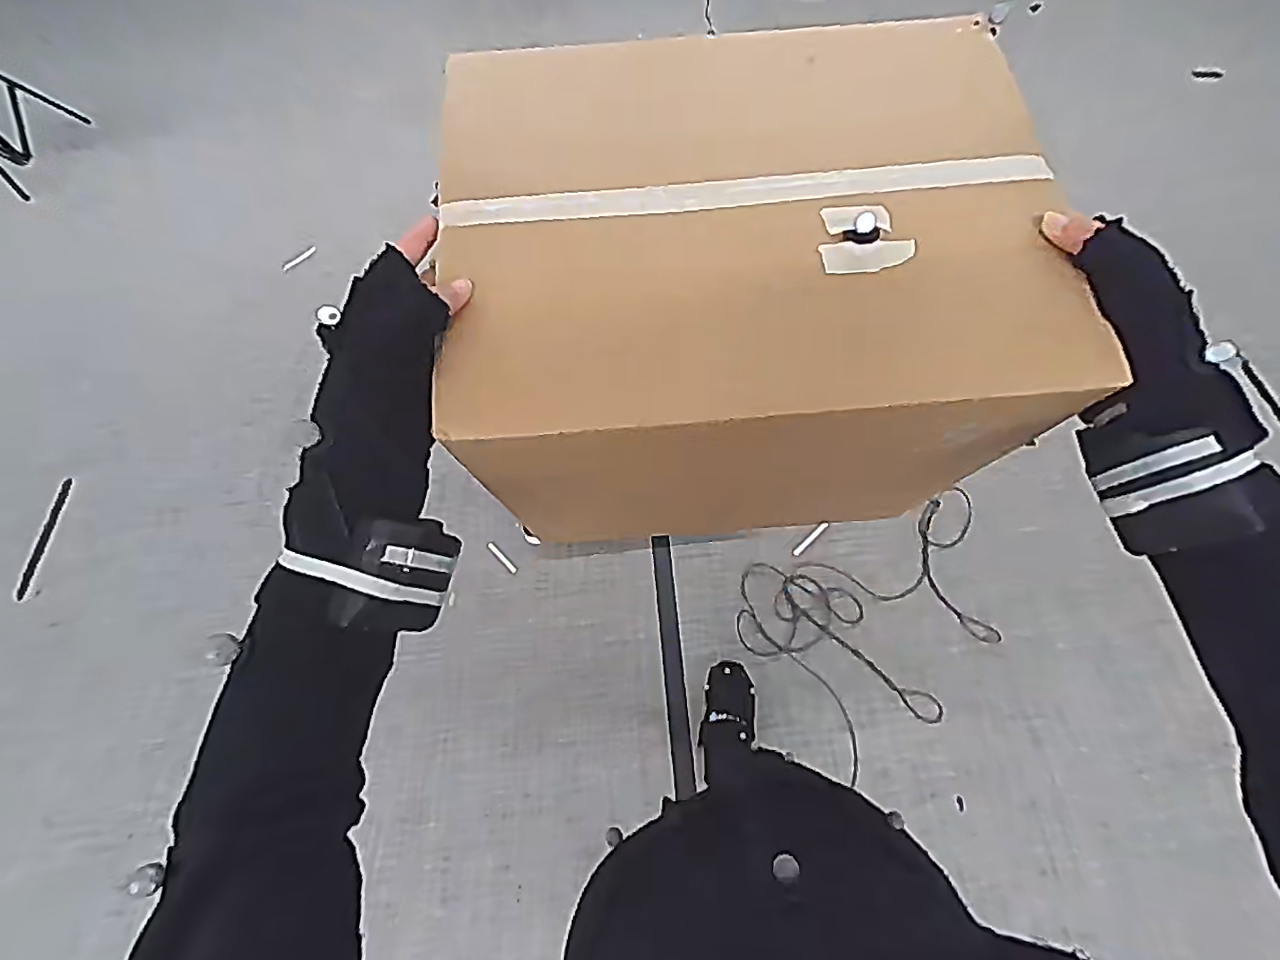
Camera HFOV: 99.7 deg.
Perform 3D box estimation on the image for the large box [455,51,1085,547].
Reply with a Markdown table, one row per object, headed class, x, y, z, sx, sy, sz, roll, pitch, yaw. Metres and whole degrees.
| class | x | y | z | sx | sy | sz | roll | pitch | yaw |
| --- | --- | --- | --- | --- | --- | --- | --- | --- | --- |
| large box | 0.070 | -0.134 | 0.522 | 0.408 | 0.320 | 0.320 | -5 | 72 | -1 |
